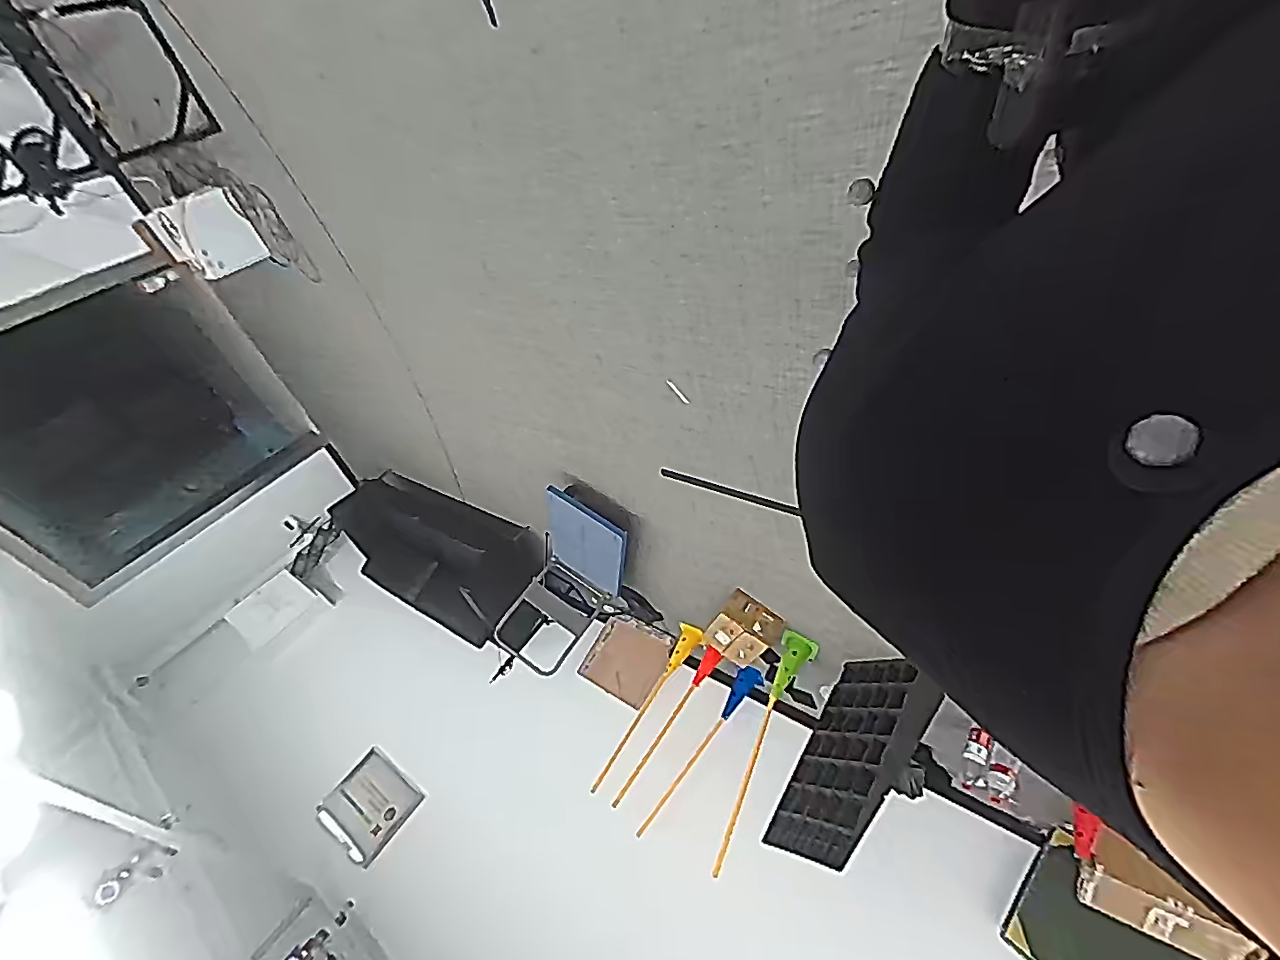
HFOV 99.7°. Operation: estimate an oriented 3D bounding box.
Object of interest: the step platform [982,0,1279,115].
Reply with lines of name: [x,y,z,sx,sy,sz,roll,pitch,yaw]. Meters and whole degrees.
step platform: [0.932,-0.742,0.823,0.684,0.204,0.286,22,143,31]
